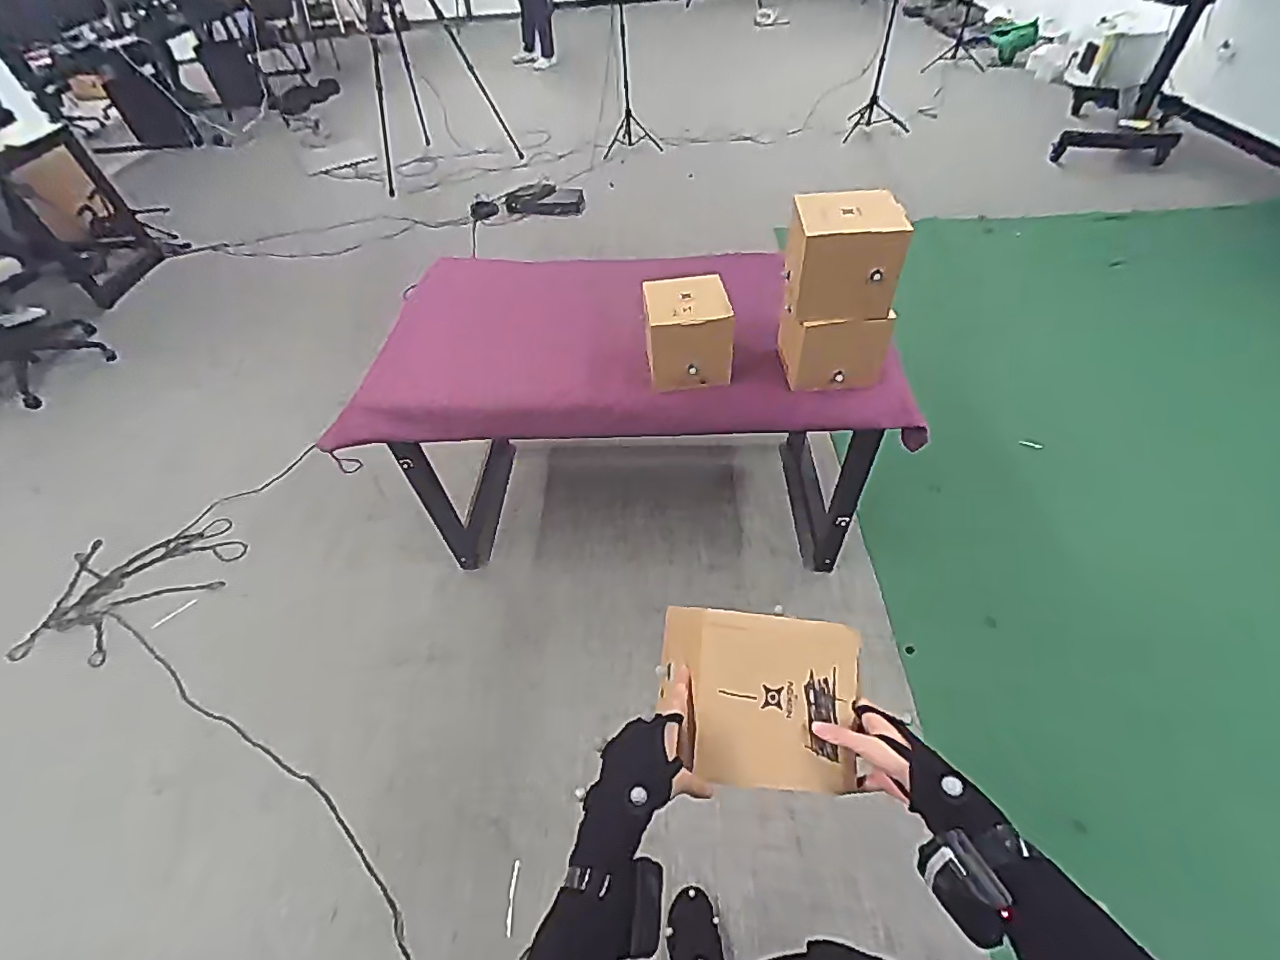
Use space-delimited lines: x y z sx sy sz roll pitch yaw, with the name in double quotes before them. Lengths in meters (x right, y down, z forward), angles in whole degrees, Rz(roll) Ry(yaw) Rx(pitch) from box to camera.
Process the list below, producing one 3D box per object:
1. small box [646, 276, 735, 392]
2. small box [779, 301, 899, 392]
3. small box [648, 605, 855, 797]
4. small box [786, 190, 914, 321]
"small box" 0.104 -0.311 1.157 0.168 0.176 0.179 -7 48 1
"small box" 0.399 -0.299 1.118 0.179 0.176 0.168 -5 49 2
"small box" 0.118 0.238 0.621 0.179 0.176 0.168 11 76 -6
"small box" 0.375 -0.411 1.000 0.179 0.176 0.168 0 50 7
